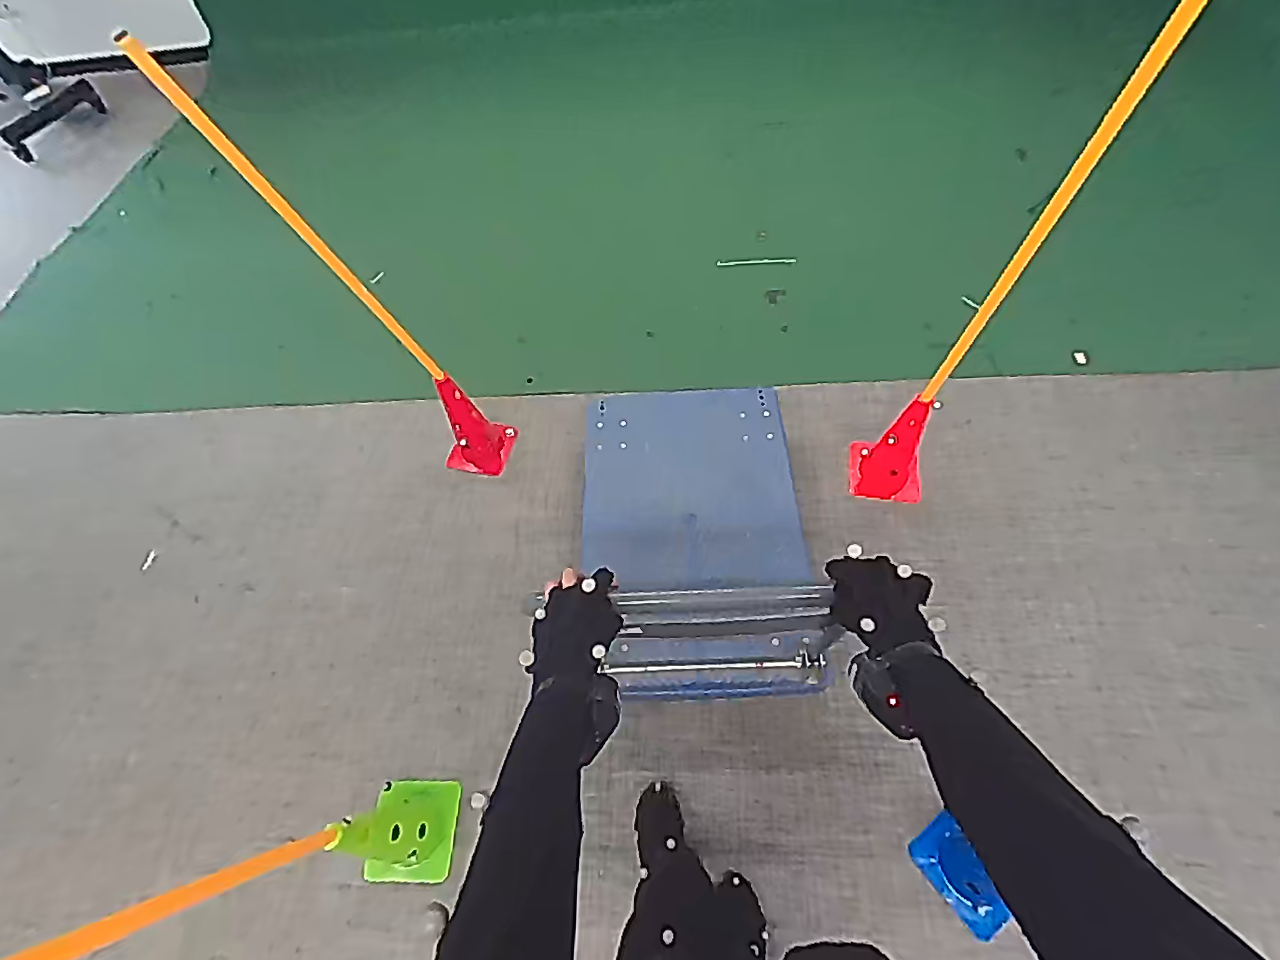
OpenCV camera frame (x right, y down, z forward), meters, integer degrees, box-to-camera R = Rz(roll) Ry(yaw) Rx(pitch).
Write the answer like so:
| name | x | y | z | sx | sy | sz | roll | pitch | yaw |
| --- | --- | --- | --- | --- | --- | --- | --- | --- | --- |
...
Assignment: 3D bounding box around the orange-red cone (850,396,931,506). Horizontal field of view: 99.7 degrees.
| name | x | y | z | sx | sy | sz | roll | pitch | yaw |
| --- | --- | --- | --- | --- | --- | --- | --- | --- | --- |
| orange-red cone | 0.731 | -0.104 | 1.506 | 0.198 | 0.360 | 0.199 | 8 | 61 | 11 |
